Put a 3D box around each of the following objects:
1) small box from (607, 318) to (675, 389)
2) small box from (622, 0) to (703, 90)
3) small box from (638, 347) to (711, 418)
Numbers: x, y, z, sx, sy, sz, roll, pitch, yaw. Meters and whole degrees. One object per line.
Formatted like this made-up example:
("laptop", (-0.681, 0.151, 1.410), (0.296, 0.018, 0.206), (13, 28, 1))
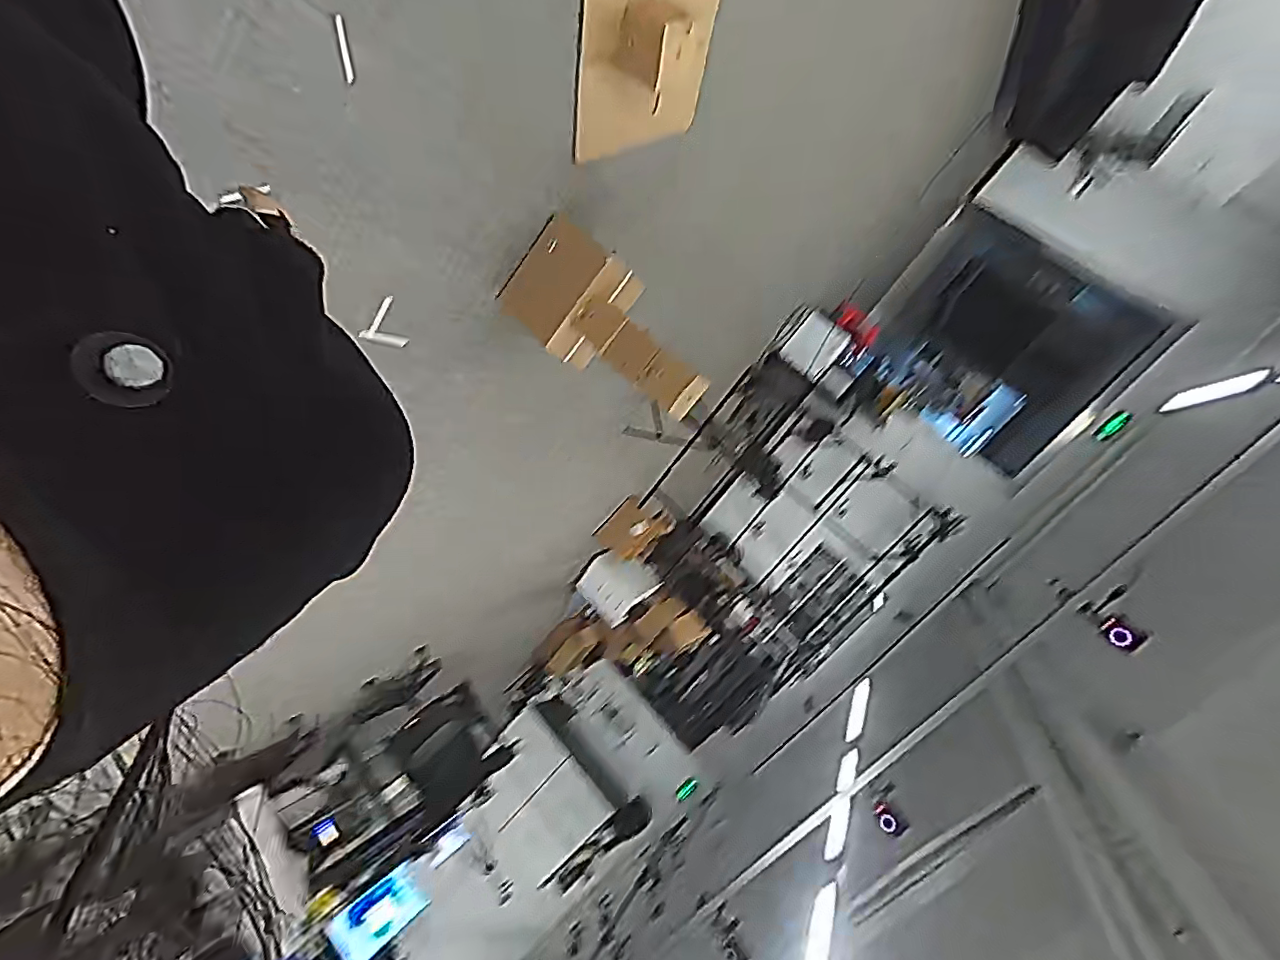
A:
("small box", (0.003, -0.453, 1.965), (0.179, 0.176, 0.168), (-52, 162, 13))
("small box", (0.063, -1.359, 1.674), (0.168, 0.176, 0.179), (-37, 162, -26))
("small box", (0.124, -0.347, 1.925), (0.168, 0.176, 0.179), (-51, 162, 11))
